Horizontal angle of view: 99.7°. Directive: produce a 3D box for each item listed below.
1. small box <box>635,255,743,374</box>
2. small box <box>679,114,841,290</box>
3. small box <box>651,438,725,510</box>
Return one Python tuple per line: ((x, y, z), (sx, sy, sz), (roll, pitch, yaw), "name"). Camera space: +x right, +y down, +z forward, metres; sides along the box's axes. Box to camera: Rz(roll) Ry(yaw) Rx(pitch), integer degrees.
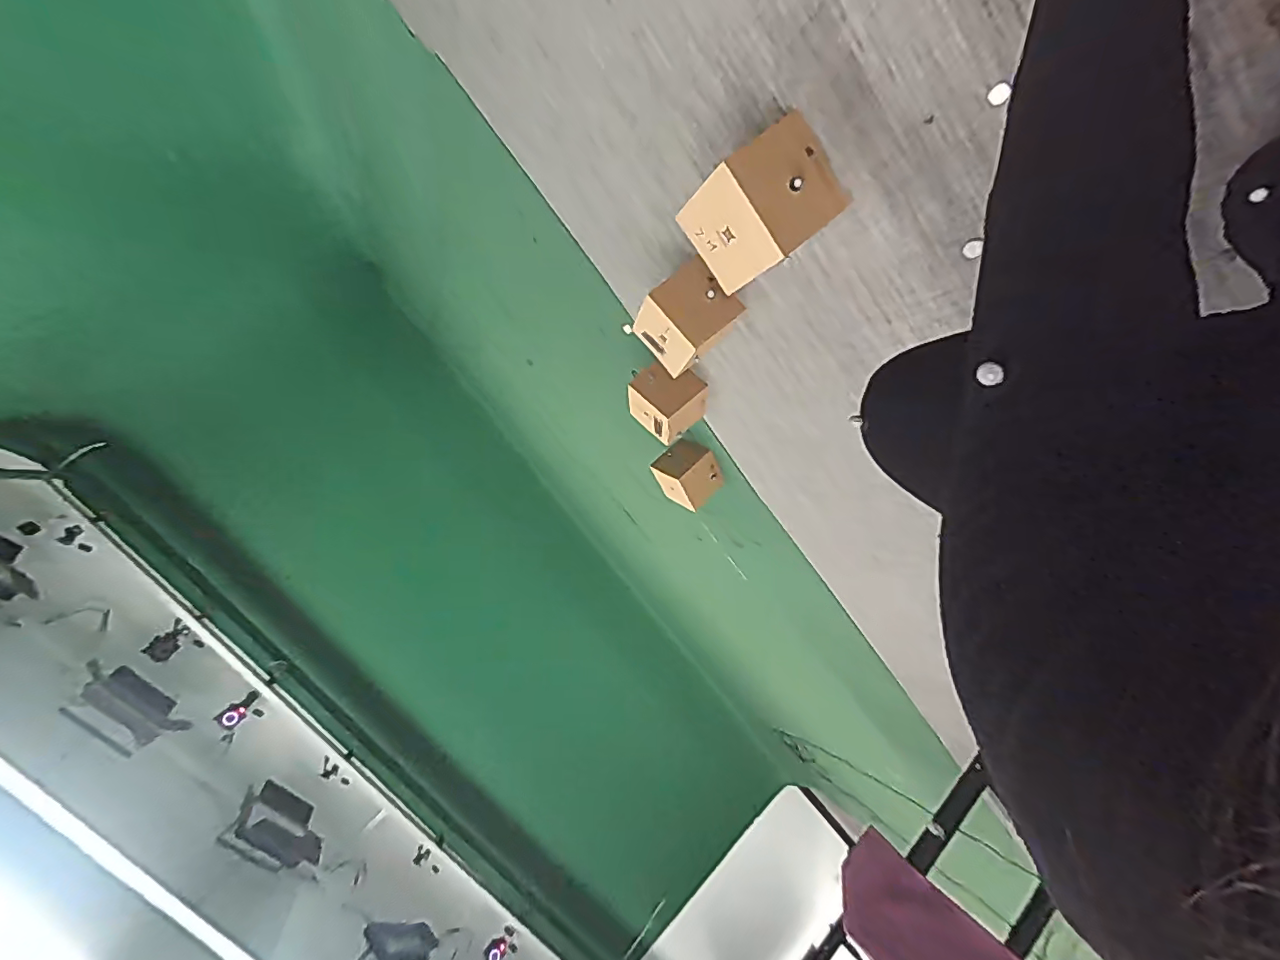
((0.115, -0.388, 1.279), (0.168, 0.176, 0.179), (49, 163, 0), "small box")
((0.203, -0.455, 0.897), (0.168, 0.176, 0.179), (53, 163, -12), "small box")
((0.176, -0.028, 1.954), (0.179, 0.176, 0.168), (28, 154, 51), "small box")
